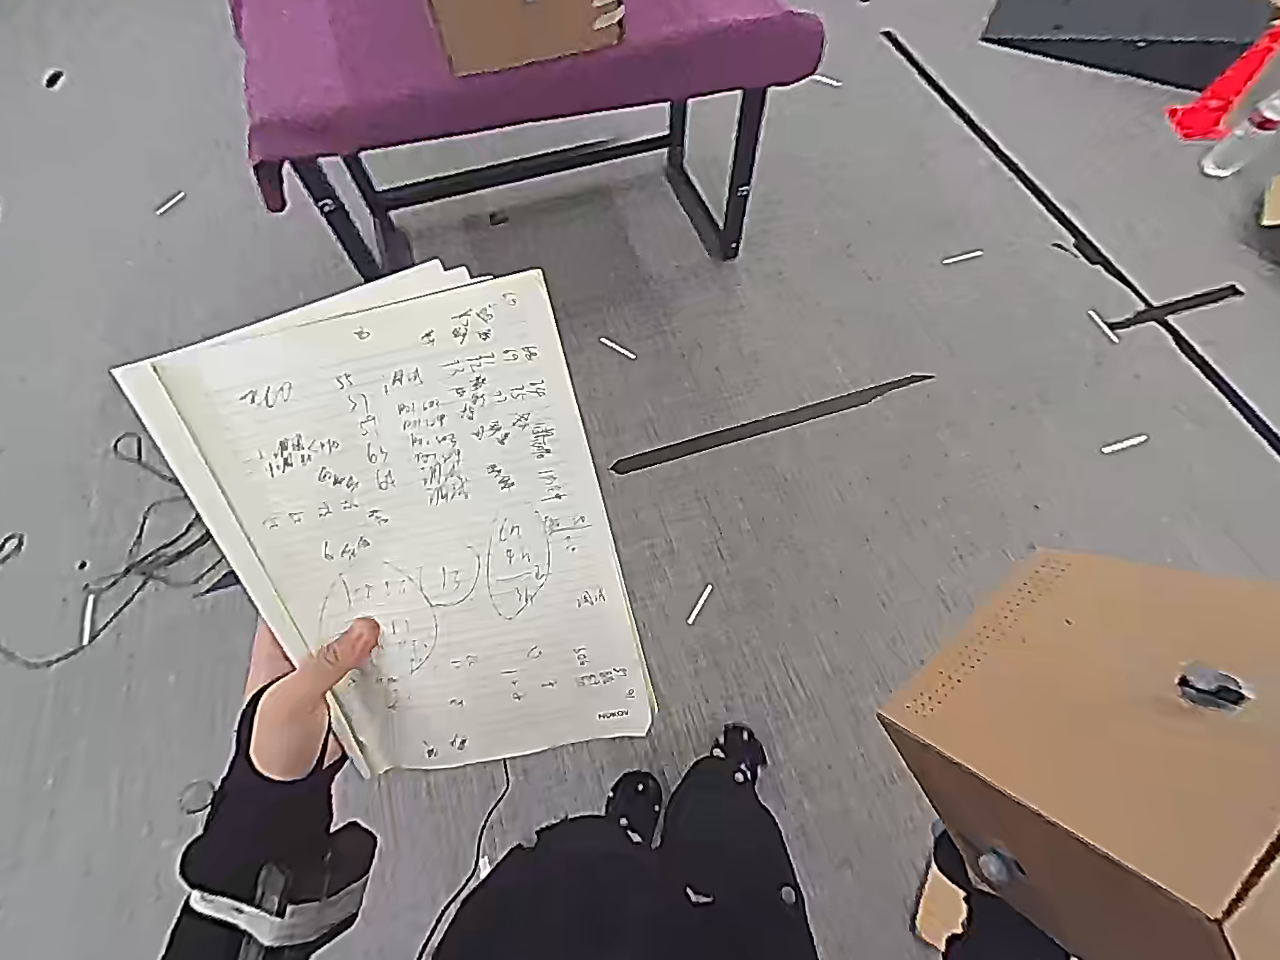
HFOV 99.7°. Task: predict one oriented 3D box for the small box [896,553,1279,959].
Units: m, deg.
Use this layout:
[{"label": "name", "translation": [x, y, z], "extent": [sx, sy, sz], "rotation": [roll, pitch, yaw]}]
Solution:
[{"label": "small box", "translation": [0.290, 0.162, 0.305], "extent": [0.179, 0.176, 0.168], "rotation": [-37, 103, -13]}]
